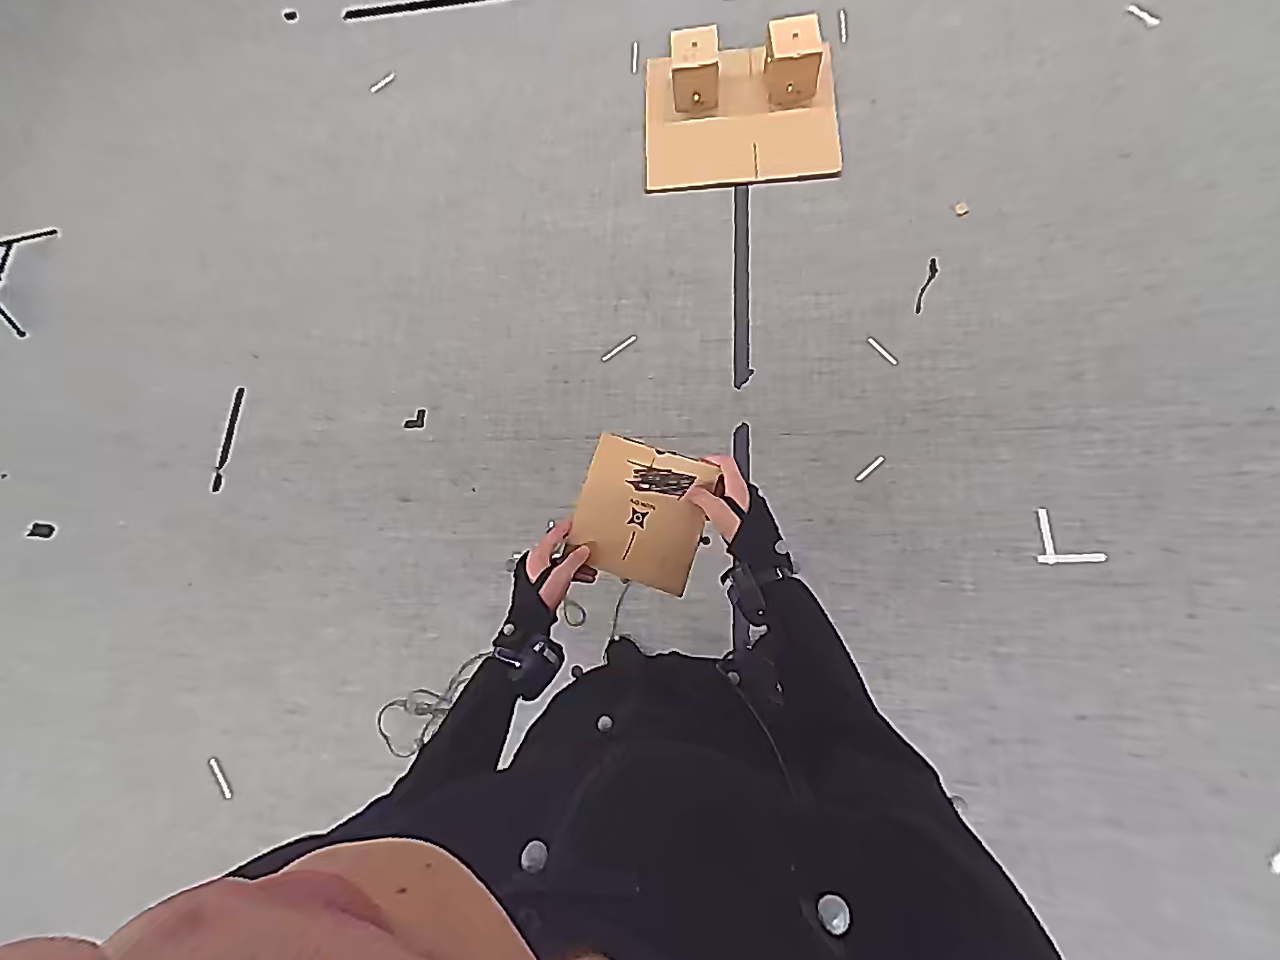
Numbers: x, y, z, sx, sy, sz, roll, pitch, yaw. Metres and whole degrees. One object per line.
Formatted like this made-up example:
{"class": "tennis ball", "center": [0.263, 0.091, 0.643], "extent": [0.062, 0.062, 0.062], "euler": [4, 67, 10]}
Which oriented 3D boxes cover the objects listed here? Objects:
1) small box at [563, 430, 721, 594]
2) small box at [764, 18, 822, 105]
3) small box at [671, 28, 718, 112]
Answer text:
{"class": "small box", "center": [0.009, 0.049, 0.772], "extent": [0.168, 0.176, 0.179], "euler": [17, 85, 8]}
{"class": "small box", "center": [0.543, -1.501, 1.943], "extent": [0.168, 0.176, 0.179], "euler": [-5, 75, 6]}
{"class": "small box", "center": [0.201, -1.497, 1.981], "extent": [0.168, 0.176, 0.179], "euler": [-2, 76, 8]}
